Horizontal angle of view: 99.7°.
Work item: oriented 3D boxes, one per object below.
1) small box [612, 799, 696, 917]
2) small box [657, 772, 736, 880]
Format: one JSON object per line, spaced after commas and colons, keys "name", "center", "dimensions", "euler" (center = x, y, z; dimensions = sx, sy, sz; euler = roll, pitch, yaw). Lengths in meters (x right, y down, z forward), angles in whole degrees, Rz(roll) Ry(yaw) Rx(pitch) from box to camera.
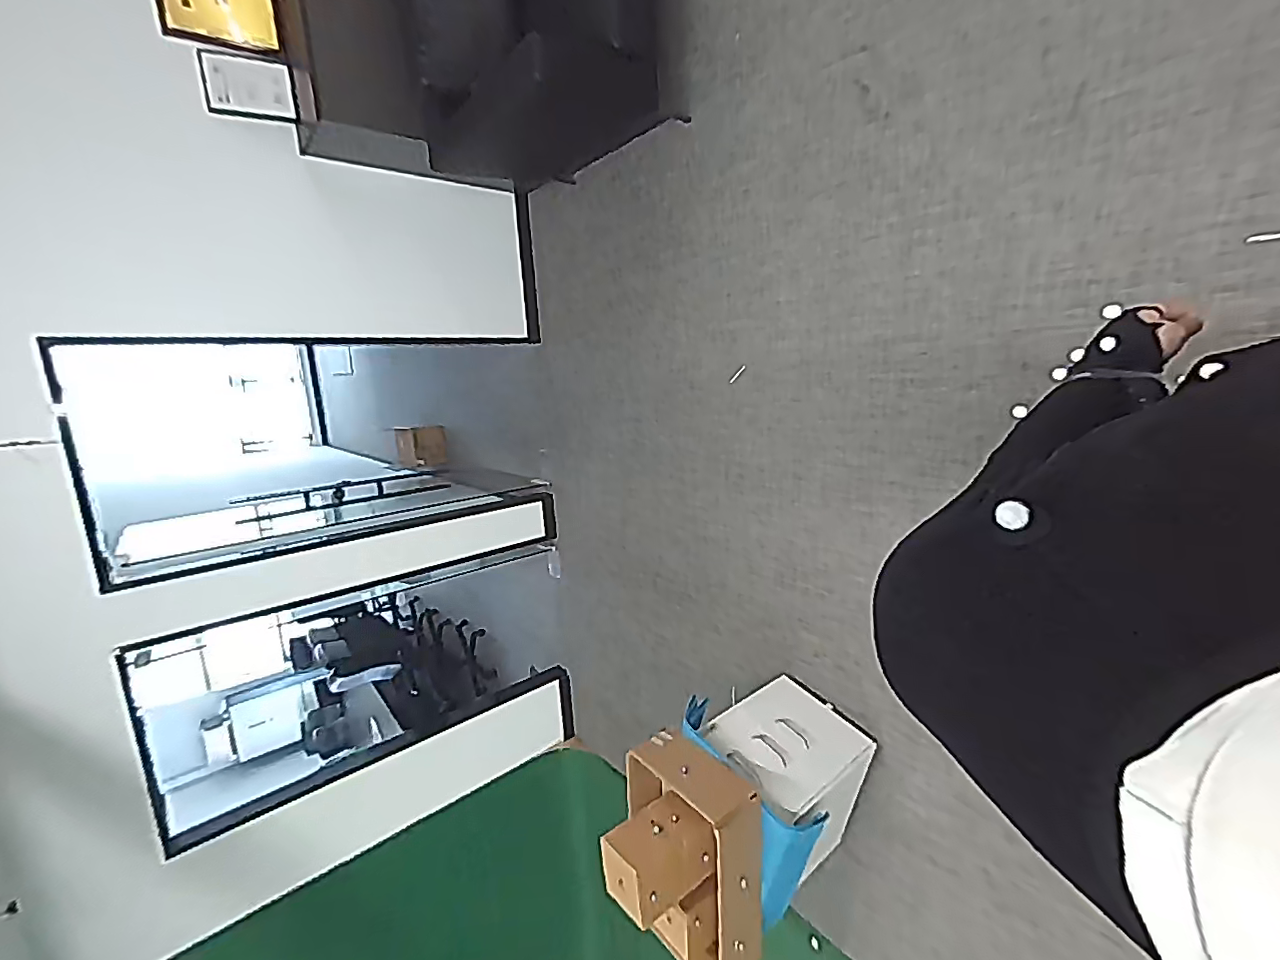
{"name": "small box", "center": [0.042, 1.047, 1.514], "dimensions": [0.168, 0.176, 0.179], "euler": [6, 104, 53]}
{"name": "small box", "center": [0.172, 1.019, 1.608], "dimensions": [0.168, 0.176, 0.179], "euler": [8, 107, 53]}
